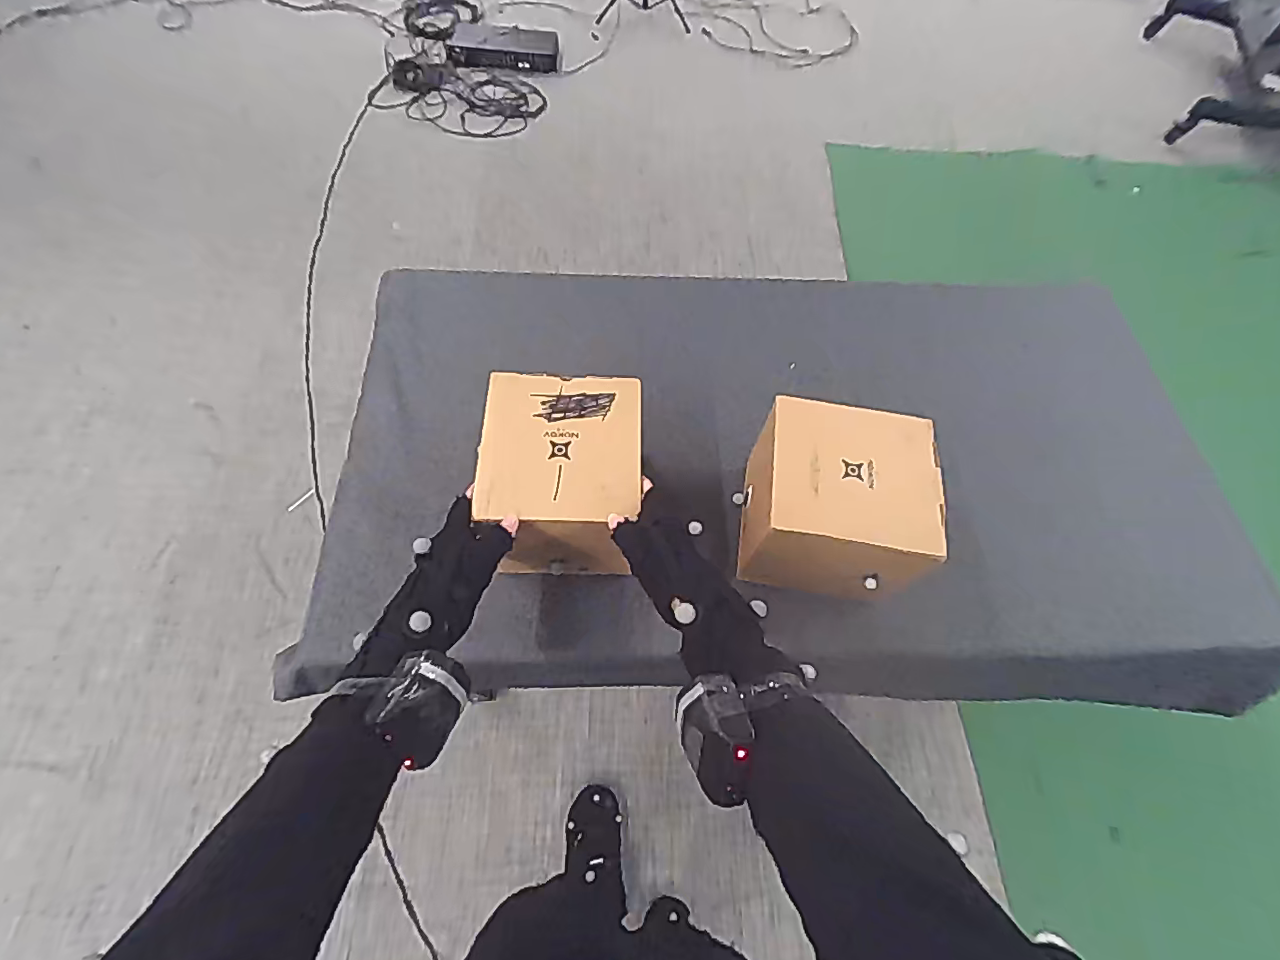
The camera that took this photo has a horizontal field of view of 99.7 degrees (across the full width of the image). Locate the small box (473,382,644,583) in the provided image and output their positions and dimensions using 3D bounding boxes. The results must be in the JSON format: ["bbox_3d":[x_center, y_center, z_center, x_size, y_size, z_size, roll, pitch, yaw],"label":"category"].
[{"bbox_3d":[-0.084,0.009,0.632,0.168,0.176,0.179,2,63,-3],"label":"small box"}]

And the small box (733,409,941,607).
[{"bbox_3d":[0.218,0.042,0.638,0.179,0.176,0.168,9,62,2],"label":"small box"}]
